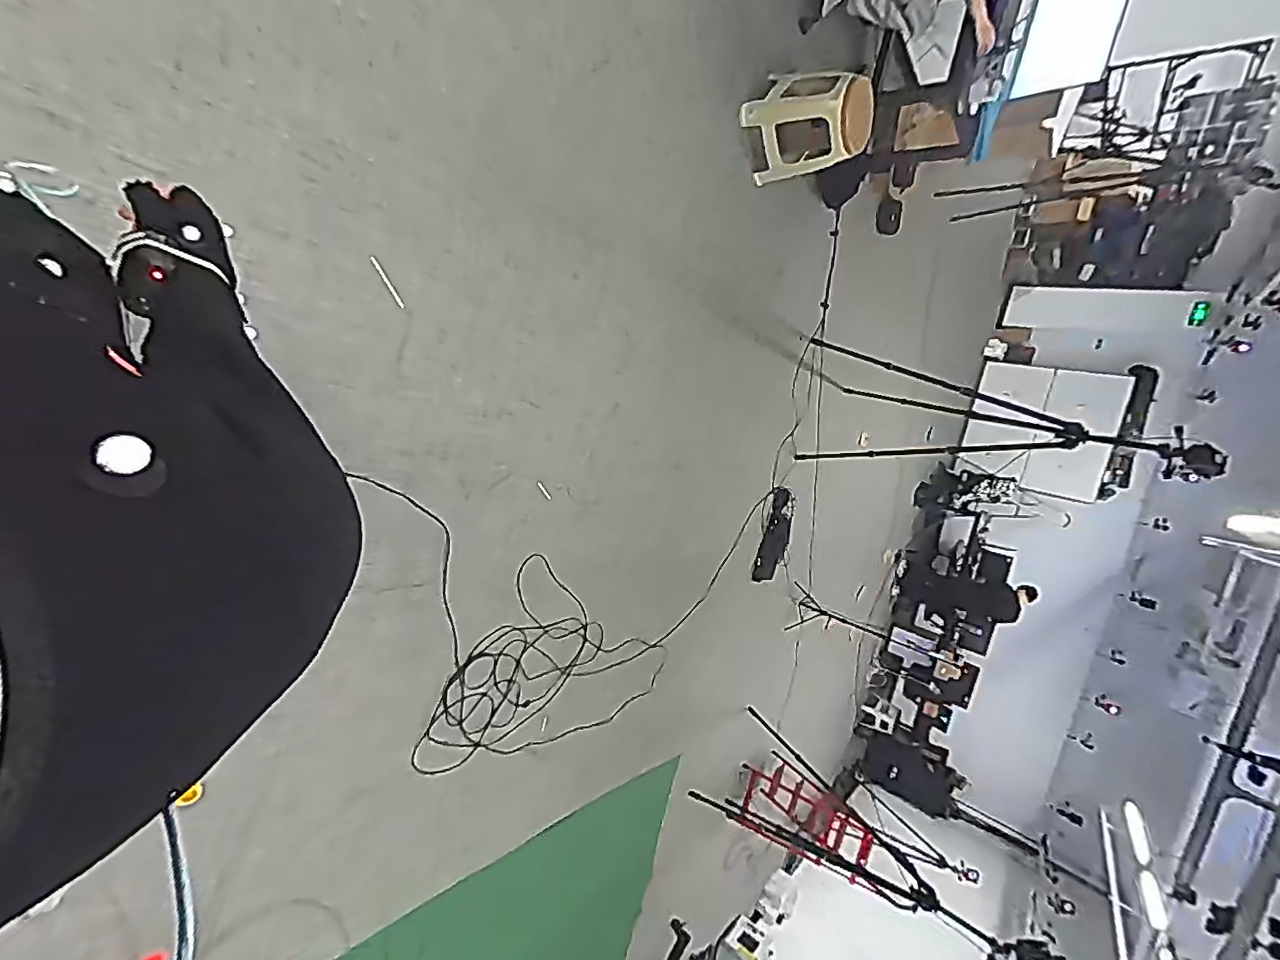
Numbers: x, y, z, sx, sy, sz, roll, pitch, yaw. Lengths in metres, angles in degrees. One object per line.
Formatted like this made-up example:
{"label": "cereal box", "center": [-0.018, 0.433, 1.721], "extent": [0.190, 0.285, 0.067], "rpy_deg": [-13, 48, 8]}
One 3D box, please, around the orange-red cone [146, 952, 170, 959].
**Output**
{"label": "orange-red cone", "center": [-1.183, 1.357, 1.251], "extent": [0.198, 0.360, 0.199], "rpy_deg": [5, 99, -53]}
